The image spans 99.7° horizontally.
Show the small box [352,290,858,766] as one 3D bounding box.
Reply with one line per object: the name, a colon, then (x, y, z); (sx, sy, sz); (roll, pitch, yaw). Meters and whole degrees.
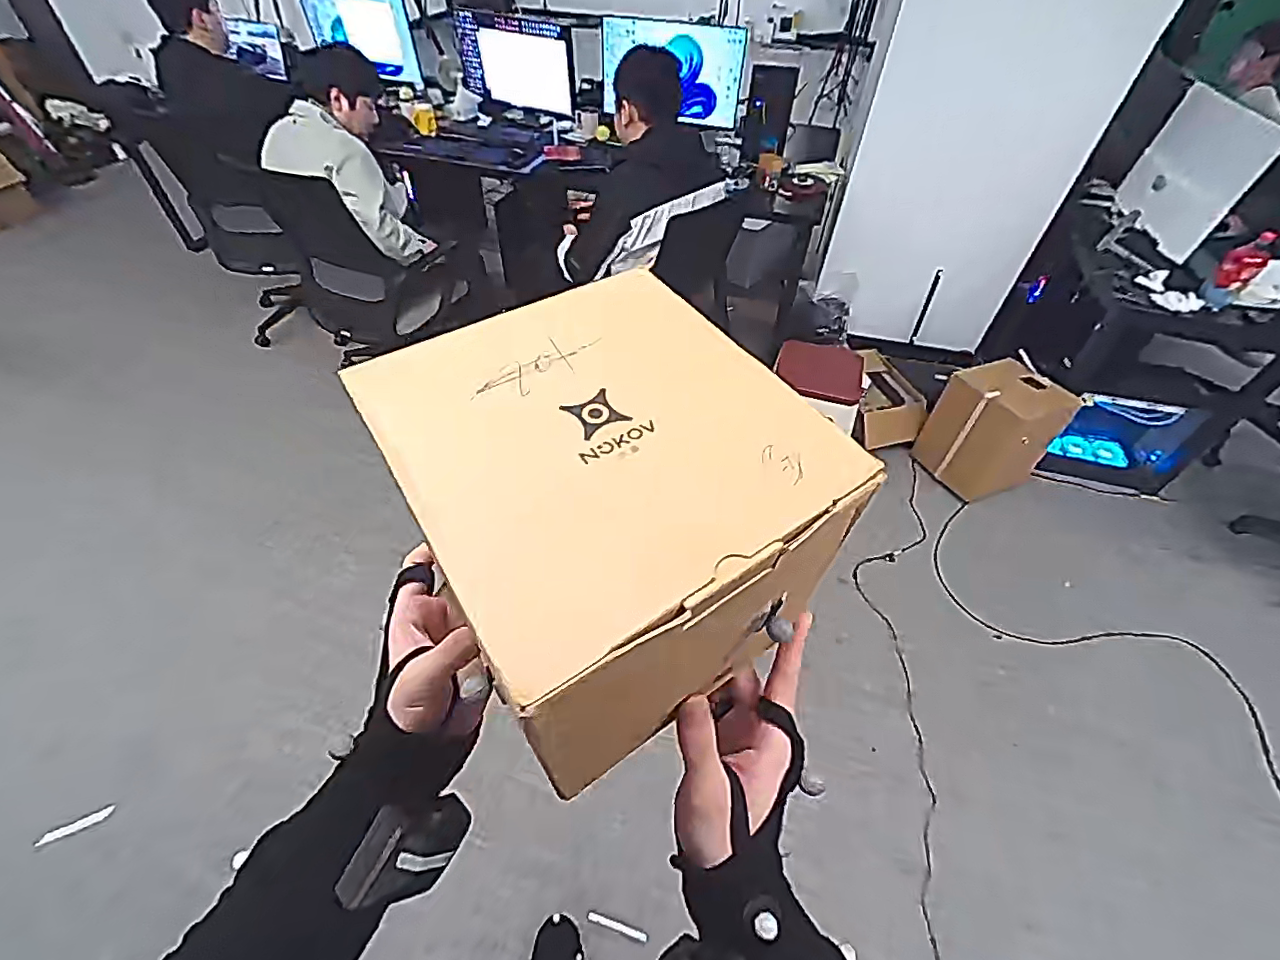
small box: (-0.022, 0.031, 0.303); (0.168, 0.176, 0.179); (-28, 57, -23)
